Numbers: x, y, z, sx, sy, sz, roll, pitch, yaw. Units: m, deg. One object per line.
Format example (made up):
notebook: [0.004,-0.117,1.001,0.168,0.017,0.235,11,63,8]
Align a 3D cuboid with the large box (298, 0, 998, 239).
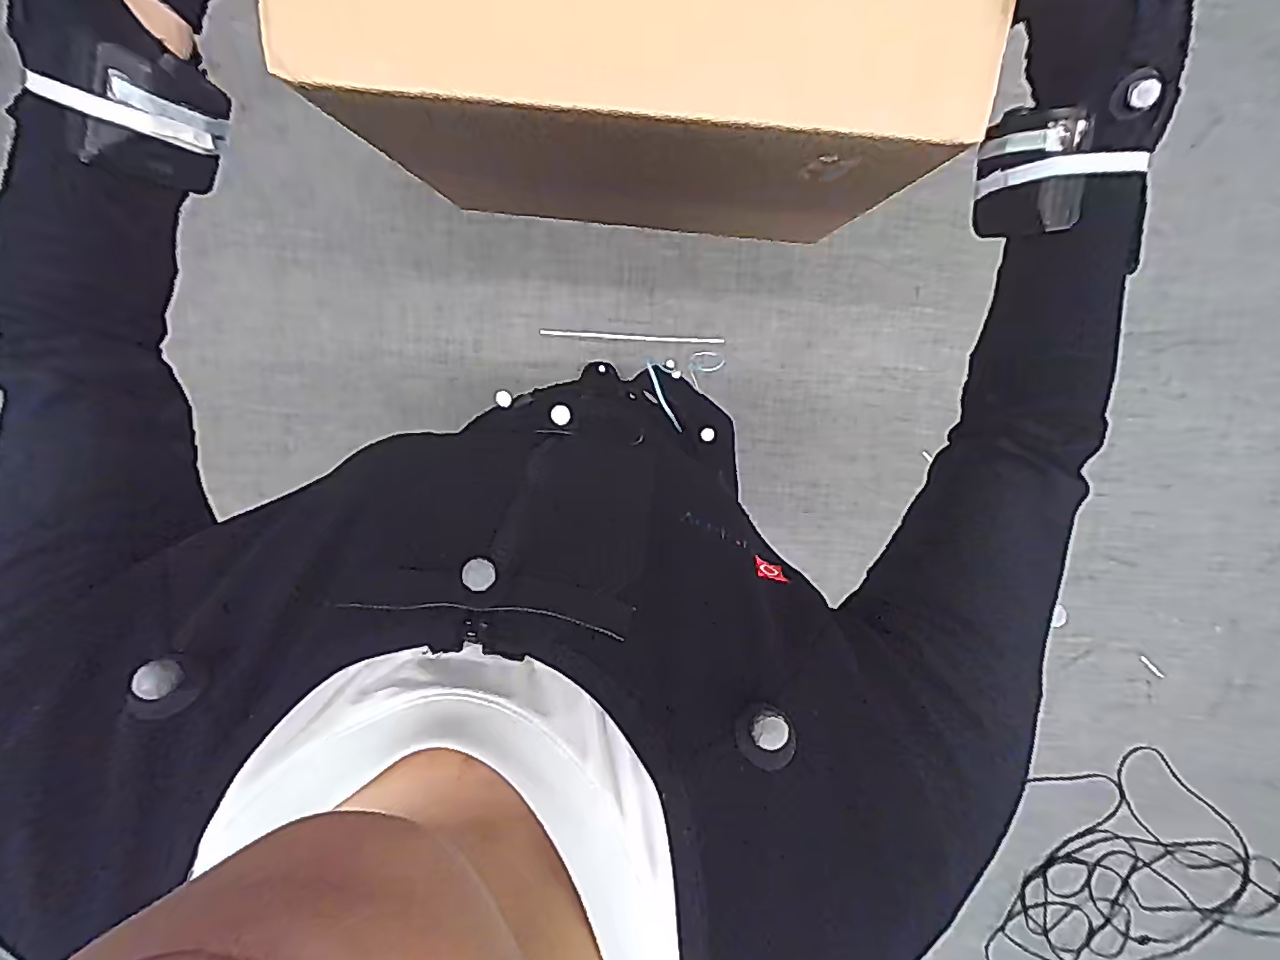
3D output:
large box: [0.011,-0.397,0.429,0.408,0.320,0.320,5,104,0]
